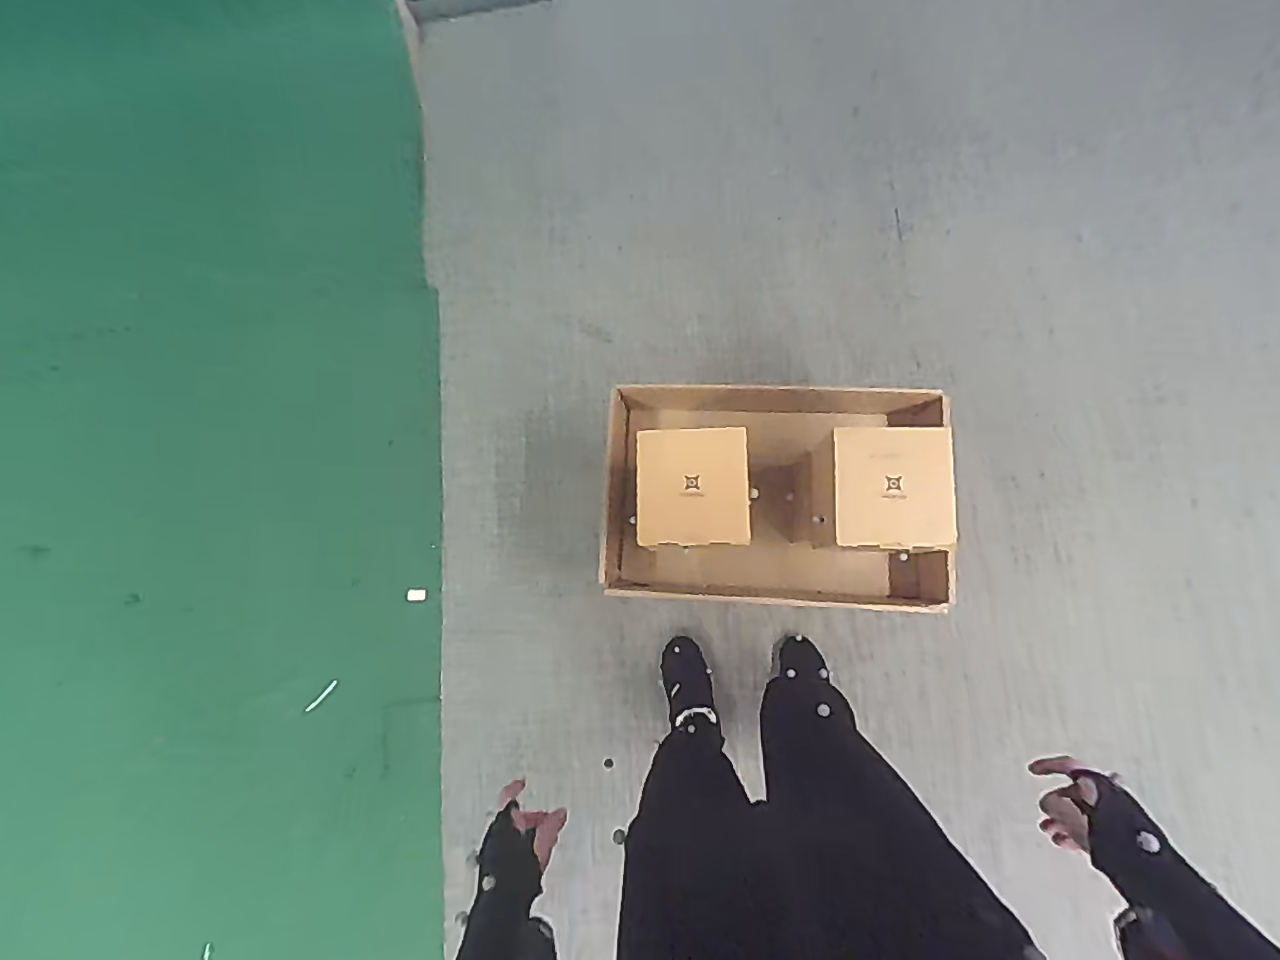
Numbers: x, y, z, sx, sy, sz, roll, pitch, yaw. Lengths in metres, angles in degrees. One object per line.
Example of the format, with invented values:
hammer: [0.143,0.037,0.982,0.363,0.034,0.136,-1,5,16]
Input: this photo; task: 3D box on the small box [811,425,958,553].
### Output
small box: [0.367,0.021,0.836,0.168,0.176,0.179,2,81,6]

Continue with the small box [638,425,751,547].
small box: [0.086,0.016,0.869,0.168,0.176,0.179,-1,82,6]
